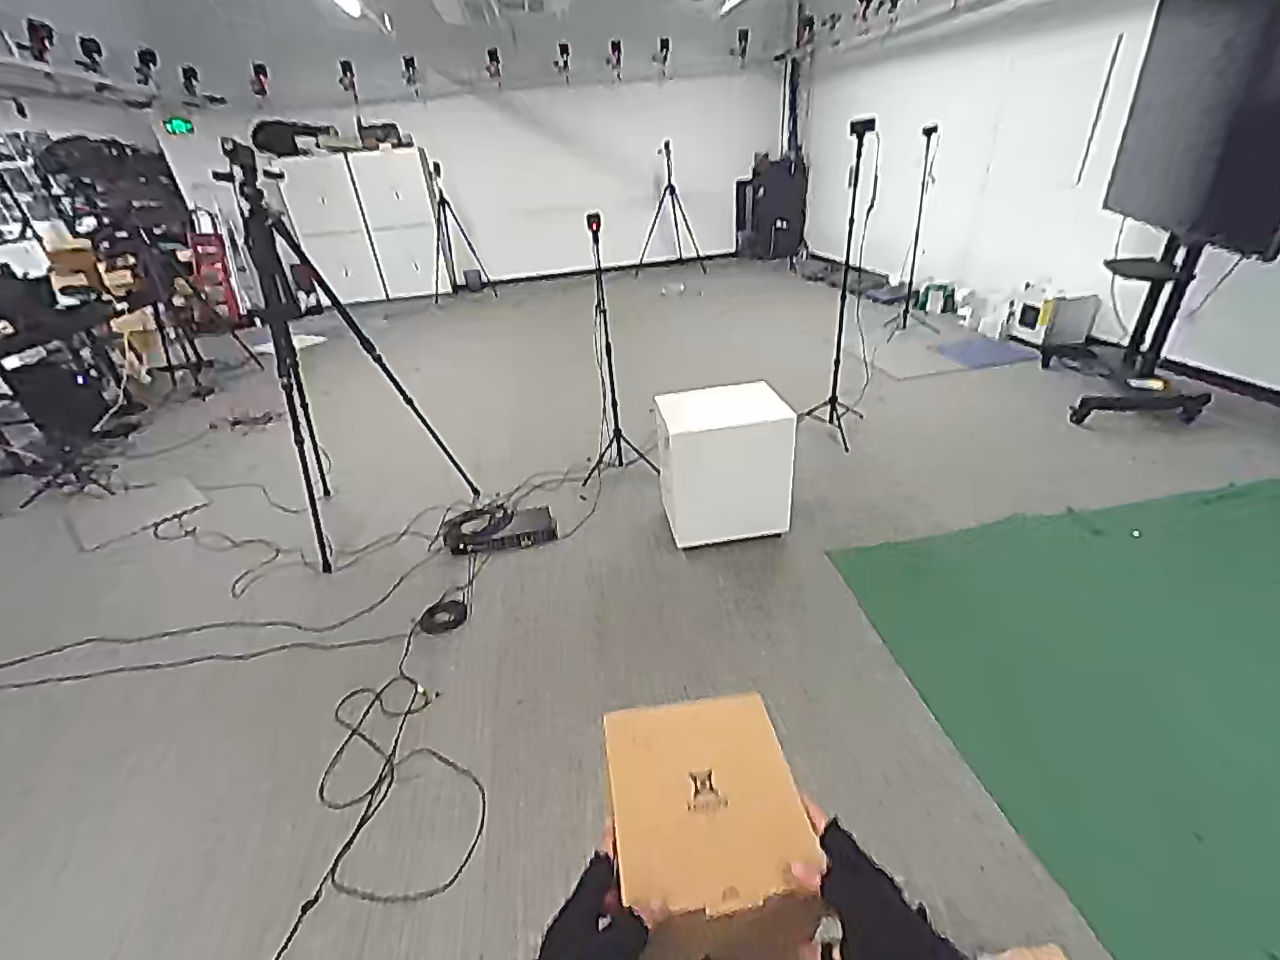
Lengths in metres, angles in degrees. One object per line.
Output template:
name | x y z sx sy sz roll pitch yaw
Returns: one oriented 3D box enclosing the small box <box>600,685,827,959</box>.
small box | 0.050 0.329 0.516 0.168 0.176 0.179 -4 33 -8
